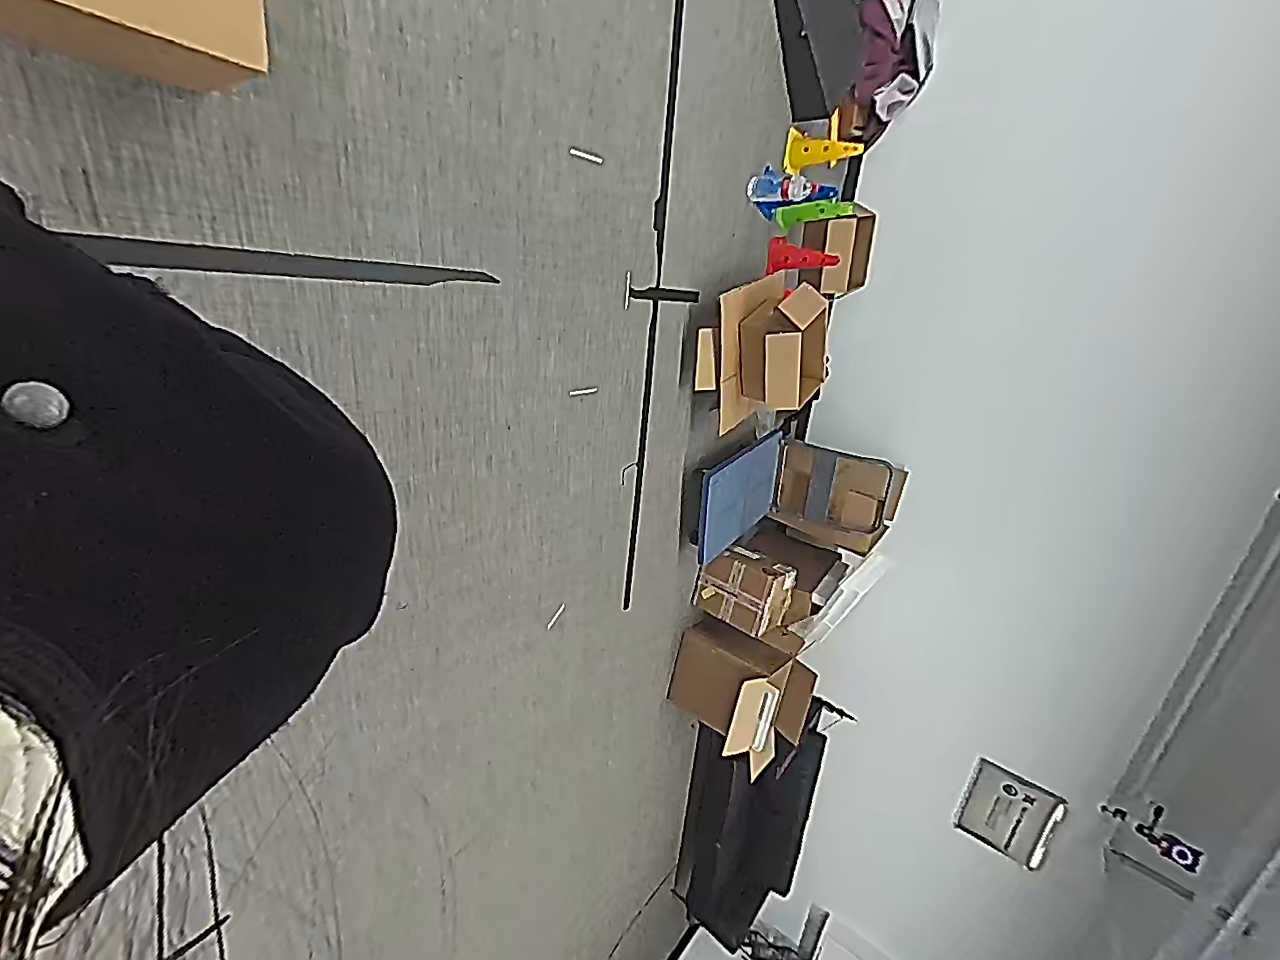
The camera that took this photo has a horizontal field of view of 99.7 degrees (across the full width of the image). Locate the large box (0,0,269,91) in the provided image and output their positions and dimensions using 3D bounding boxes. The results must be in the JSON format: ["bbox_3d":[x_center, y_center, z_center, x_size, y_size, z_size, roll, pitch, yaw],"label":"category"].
[{"bbox_3d":[-0.833,-0.816,0.770,0.408,0.320,0.320,-17,121,-51],"label":"large box"}]
